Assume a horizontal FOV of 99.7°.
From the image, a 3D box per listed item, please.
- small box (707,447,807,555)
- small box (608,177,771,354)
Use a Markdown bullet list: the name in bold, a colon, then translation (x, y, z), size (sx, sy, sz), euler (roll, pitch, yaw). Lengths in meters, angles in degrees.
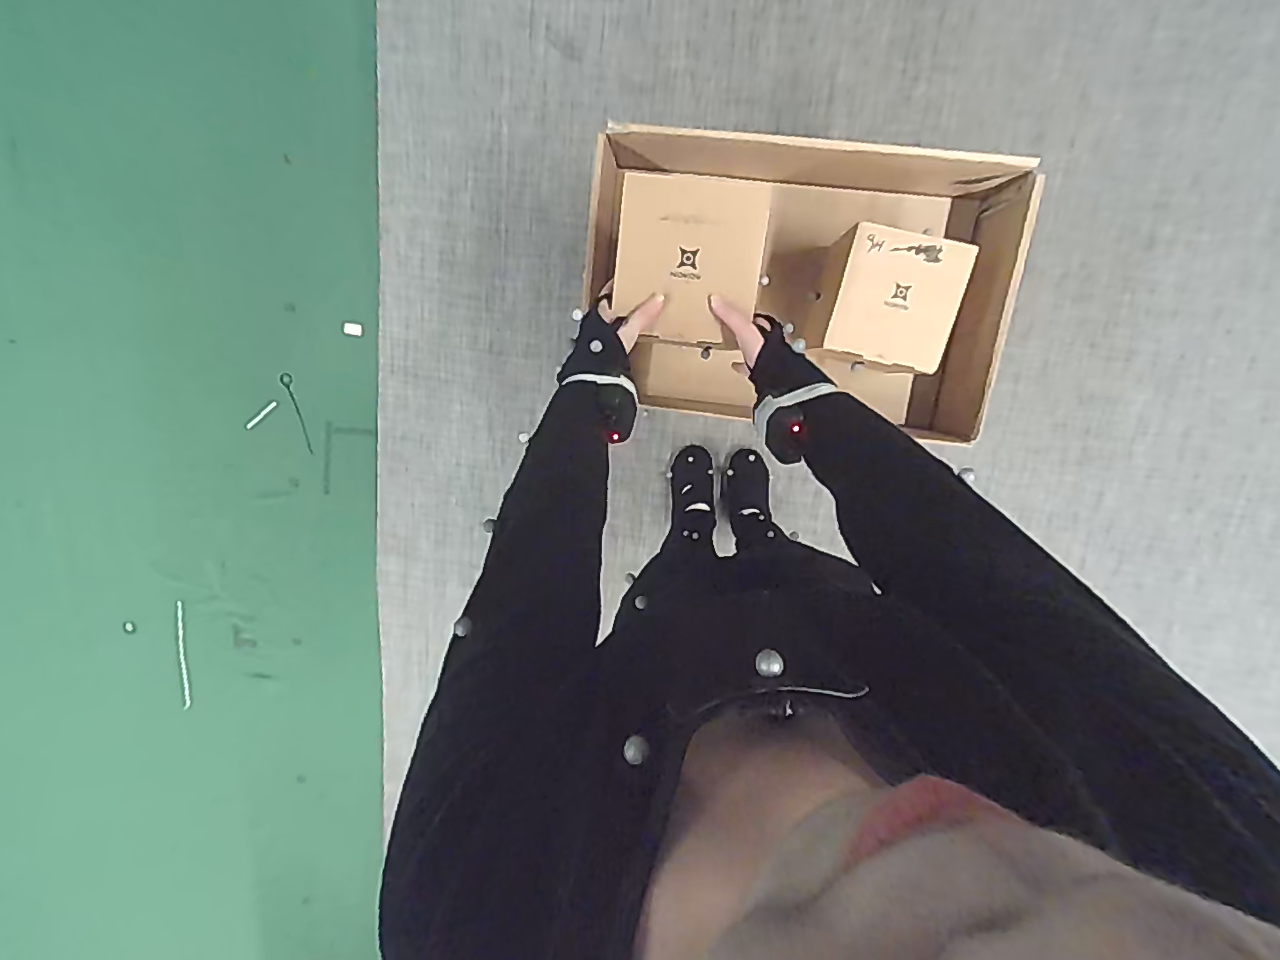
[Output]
- **small box**: translation (0.287, 0.056, 1.372), size (0.179, 0.176, 0.168), euler (-36, 63, -21)
- **small box**: translation (0.062, -0.258, 0.691), size (0.168, 0.176, 0.179), euler (8, 102, 4)
